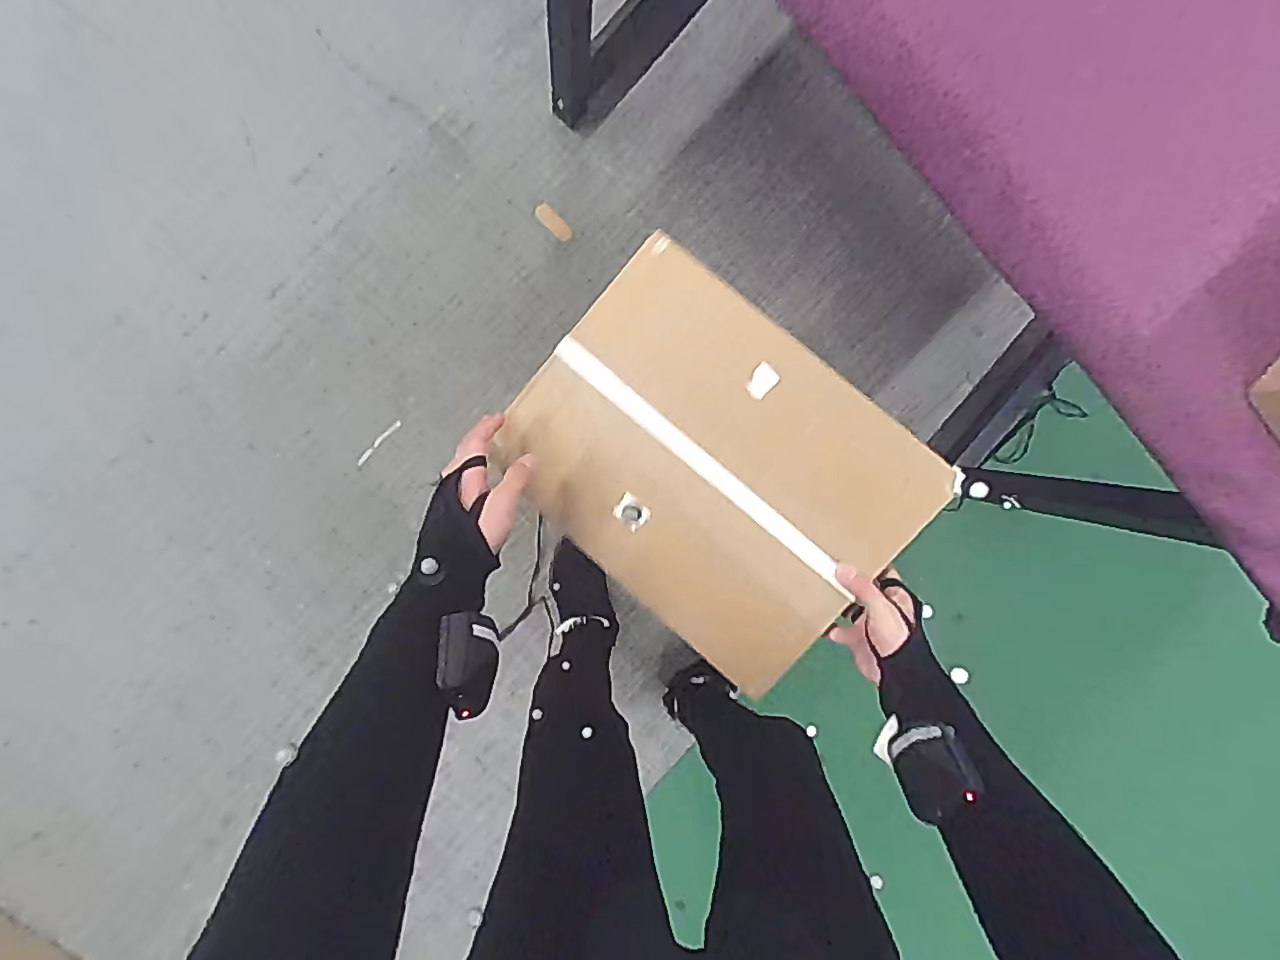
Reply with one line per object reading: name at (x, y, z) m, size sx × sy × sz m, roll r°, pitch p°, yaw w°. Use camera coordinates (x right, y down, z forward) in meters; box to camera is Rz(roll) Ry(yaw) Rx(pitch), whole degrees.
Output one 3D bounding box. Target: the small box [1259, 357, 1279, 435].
small box at (0.720, -0.086, 0.464) m, size 0.179 × 0.176 × 0.168 m, roll -45°, pitch 98°, yaw -3°
